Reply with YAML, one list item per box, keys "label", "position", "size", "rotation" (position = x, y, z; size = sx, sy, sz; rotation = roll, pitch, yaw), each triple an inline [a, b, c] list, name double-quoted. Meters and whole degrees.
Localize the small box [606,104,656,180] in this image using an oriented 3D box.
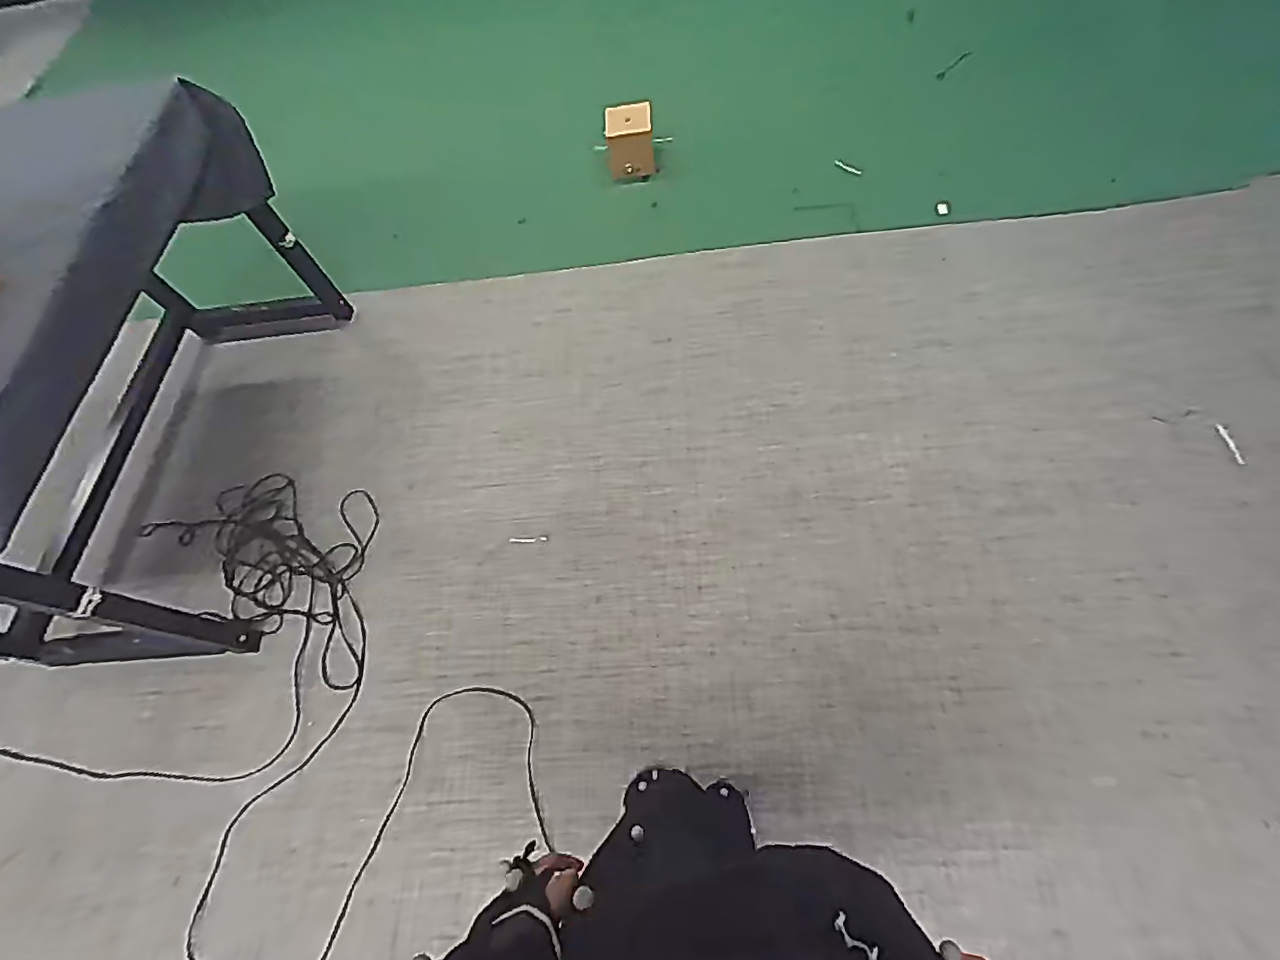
- label: "small box"
  position: [-0.033, -1.260, 2.021]
  size: [0.168, 0.176, 0.179]
  rotation: [-6, 63, 5]
